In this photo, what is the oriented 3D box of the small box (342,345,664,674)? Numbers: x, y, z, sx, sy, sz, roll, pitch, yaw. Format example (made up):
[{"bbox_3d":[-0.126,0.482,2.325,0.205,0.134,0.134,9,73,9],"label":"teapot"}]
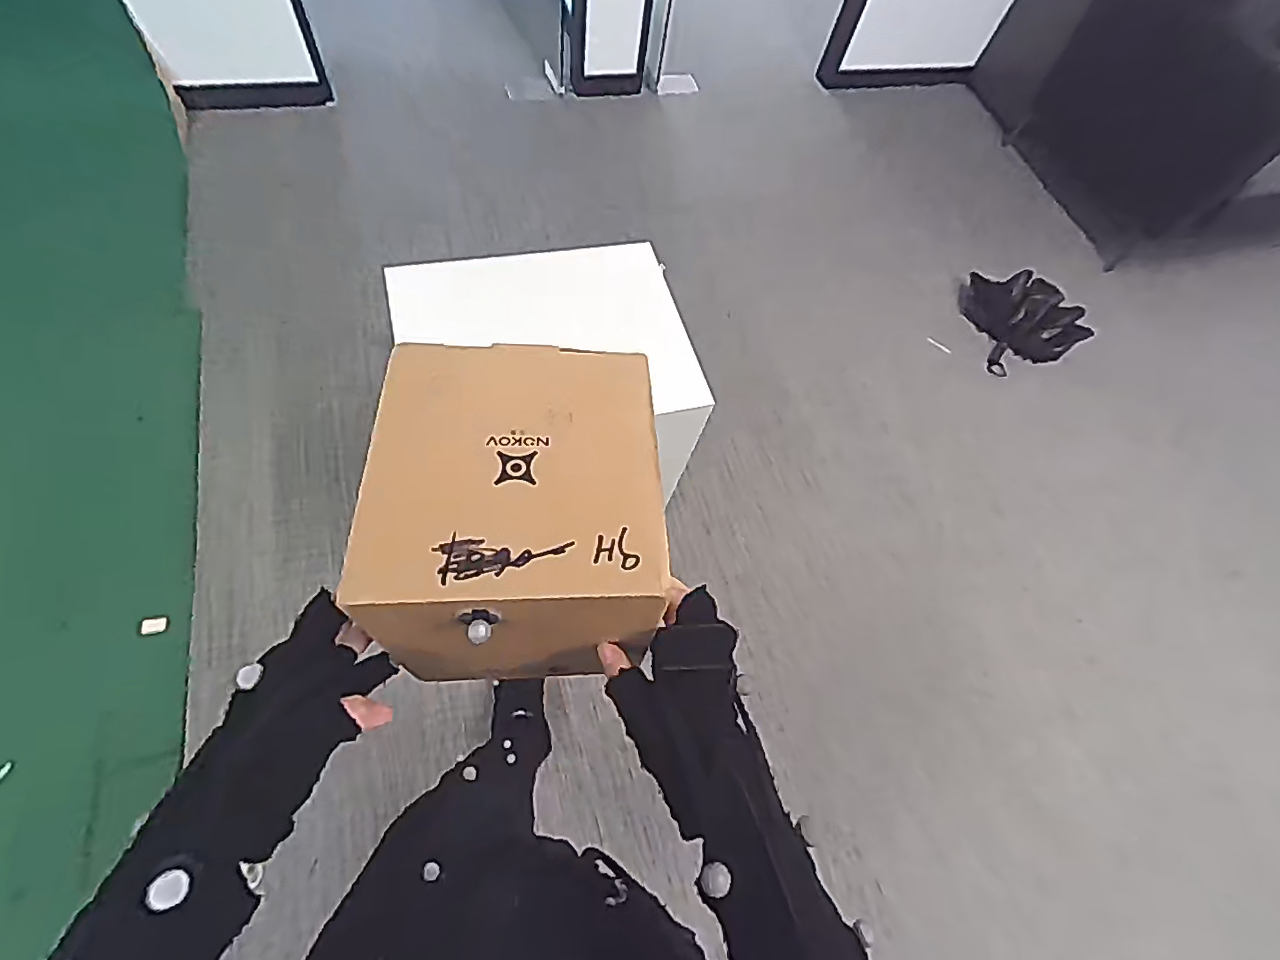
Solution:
[{"bbox_3d":[-0.081,0.027,0.387,0.168,0.176,0.179,-1,58,-7],"label":"small box"}]
